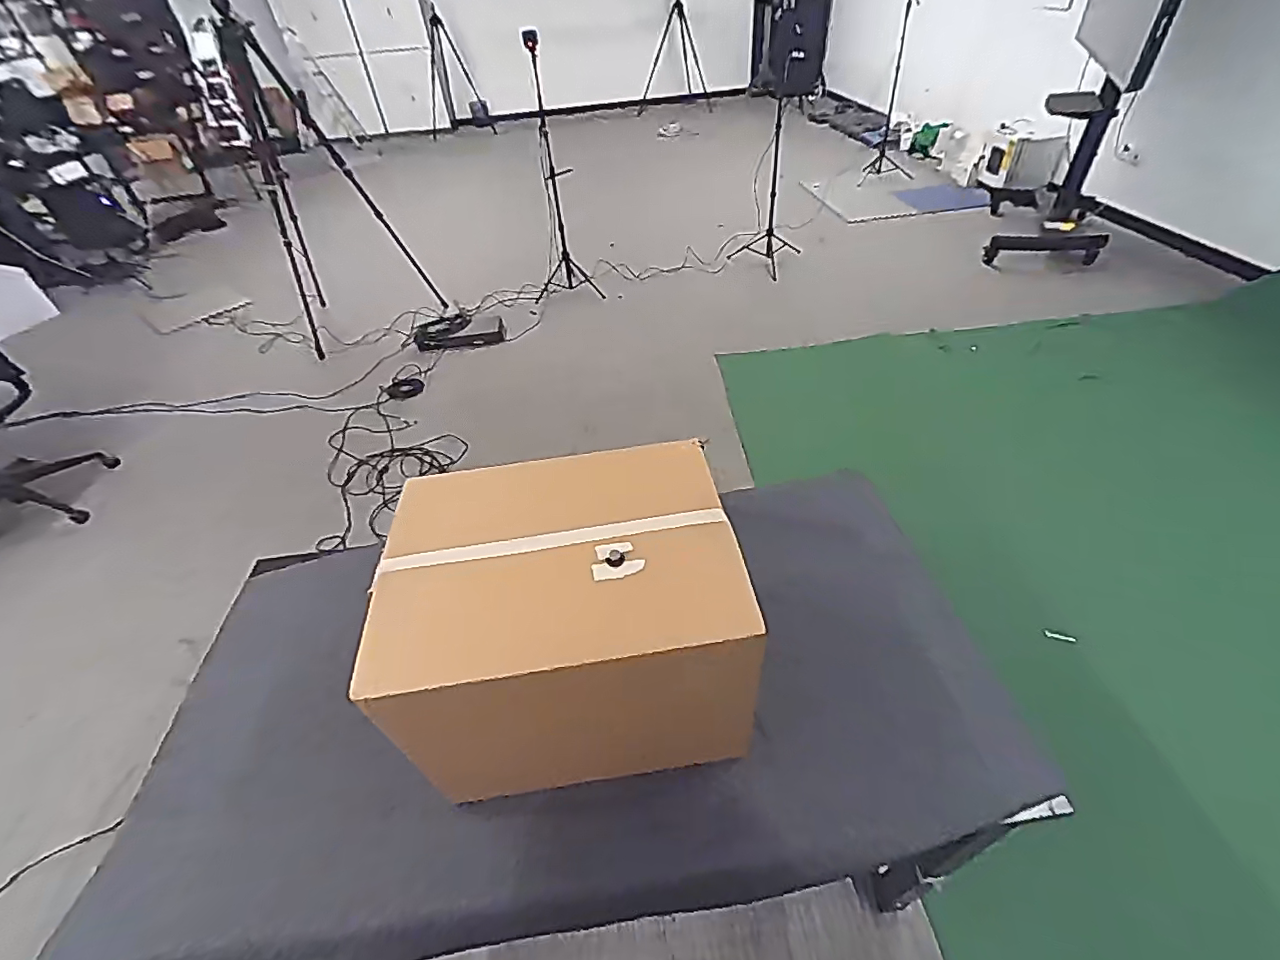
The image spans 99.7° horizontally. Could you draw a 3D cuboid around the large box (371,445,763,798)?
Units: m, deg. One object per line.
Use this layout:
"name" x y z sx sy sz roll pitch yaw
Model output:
"large box" -0.082 0.189 0.744 0.408 0.320 0.320 -8 44 -3
